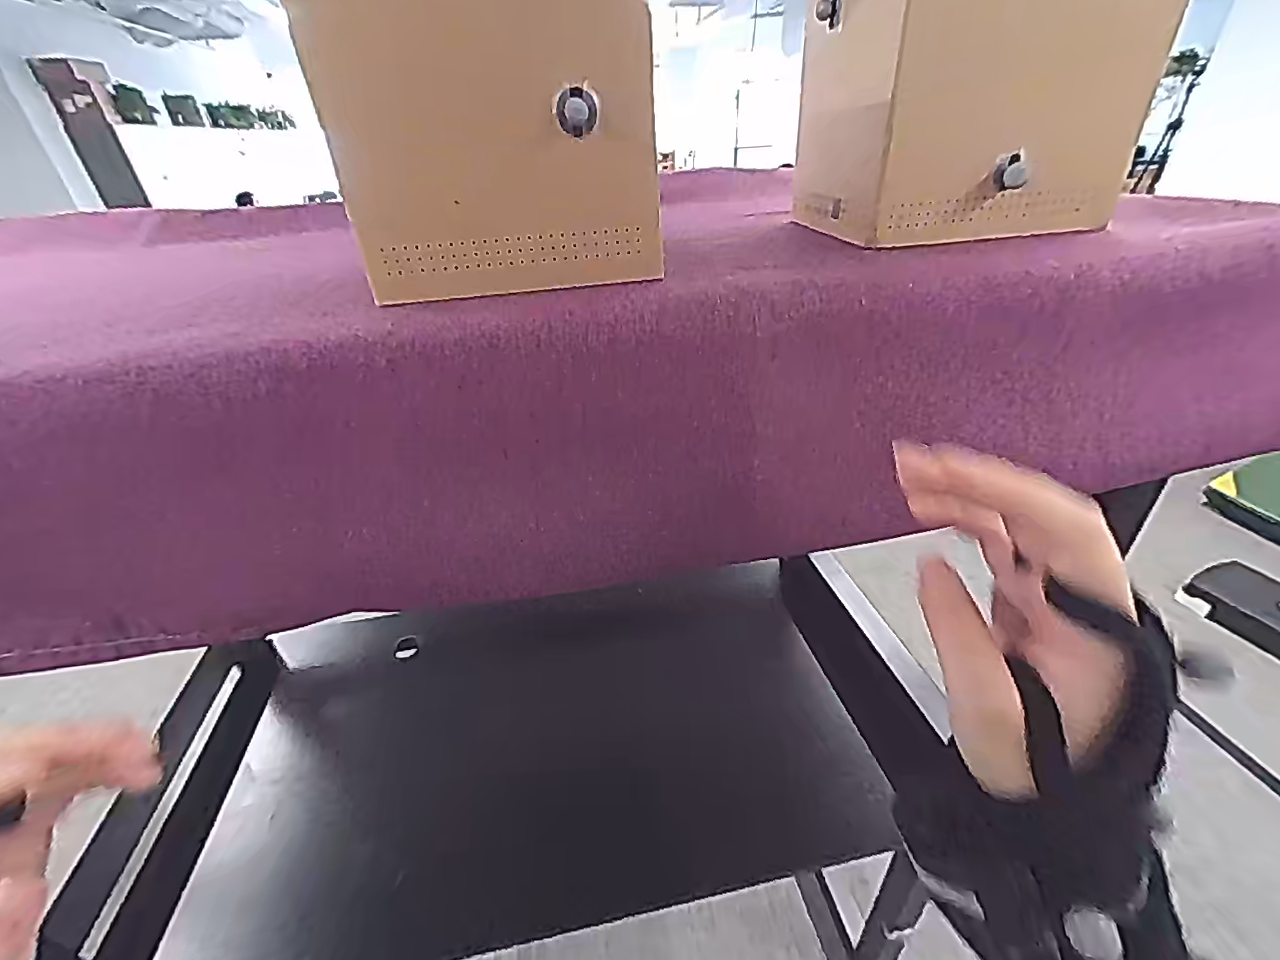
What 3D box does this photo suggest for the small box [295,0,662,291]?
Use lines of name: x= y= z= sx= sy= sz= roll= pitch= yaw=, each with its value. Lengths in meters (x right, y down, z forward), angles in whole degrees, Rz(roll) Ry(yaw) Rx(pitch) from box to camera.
small box: x=-0.082 y=-0.230 z=0.350 sx=0.179 sy=0.176 sz=0.168 roll=-8 pitch=32 yaw=-5

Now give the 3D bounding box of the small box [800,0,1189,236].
small box: x=0.233 y=-0.285 z=0.395 sx=0.179 sy=0.176 sz=0.168 roll=-6 pitch=31 yaw=-3
